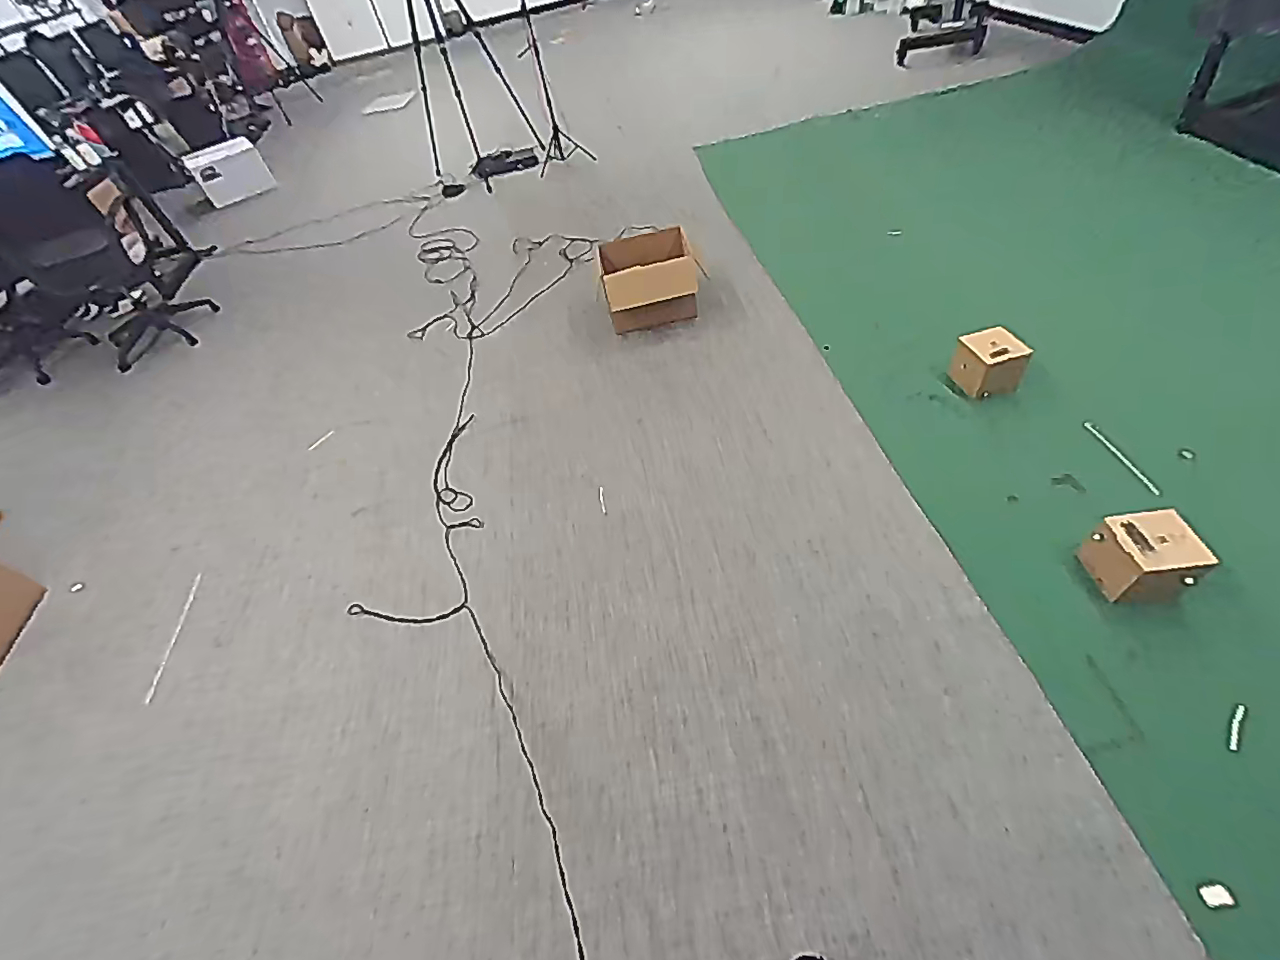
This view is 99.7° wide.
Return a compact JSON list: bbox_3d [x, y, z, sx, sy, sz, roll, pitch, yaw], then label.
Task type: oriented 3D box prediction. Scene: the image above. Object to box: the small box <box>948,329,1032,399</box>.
[{"bbox_3d":[1.250,-0.411,1.946,0.168,0.176,0.179,-15,47,-1],"label":"small box"}]
